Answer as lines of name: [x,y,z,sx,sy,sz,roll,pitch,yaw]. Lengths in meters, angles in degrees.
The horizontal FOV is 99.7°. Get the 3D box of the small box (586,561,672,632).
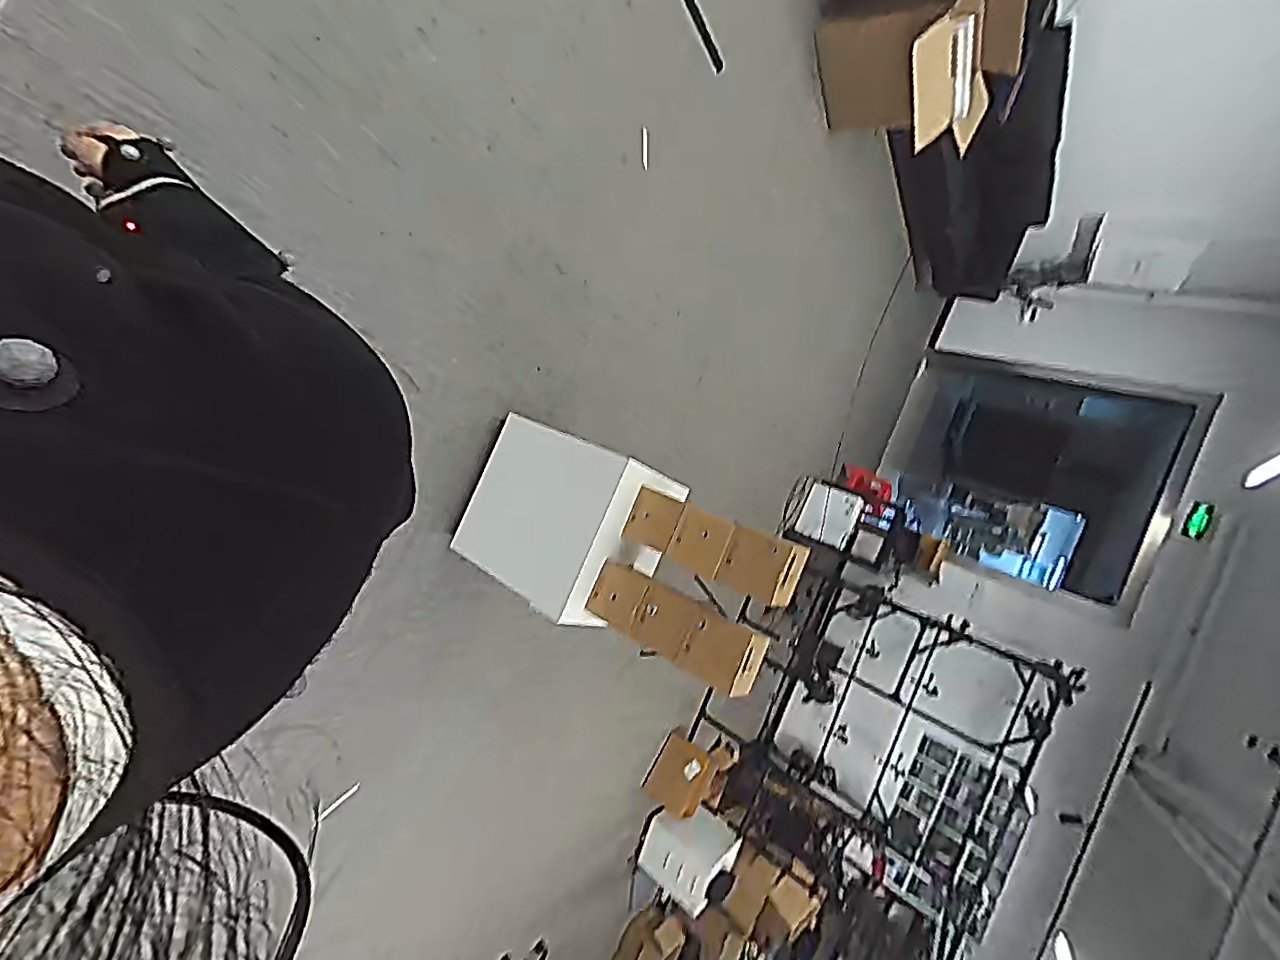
small box: [-0.036,0.356,1.641,0.179,0.176,0.168,28,84,-55]

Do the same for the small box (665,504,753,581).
small box: [0.198,0.181,1.573,0.179,0.176,0.168,23,90,-57]

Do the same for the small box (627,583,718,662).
small box: [0.095,0.408,1.557,0.179,0.176,0.168,28,83,-56]

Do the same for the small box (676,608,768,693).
small box: [0.221,0.458,1.464,0.179,0.176,0.168,31,81,-57]
